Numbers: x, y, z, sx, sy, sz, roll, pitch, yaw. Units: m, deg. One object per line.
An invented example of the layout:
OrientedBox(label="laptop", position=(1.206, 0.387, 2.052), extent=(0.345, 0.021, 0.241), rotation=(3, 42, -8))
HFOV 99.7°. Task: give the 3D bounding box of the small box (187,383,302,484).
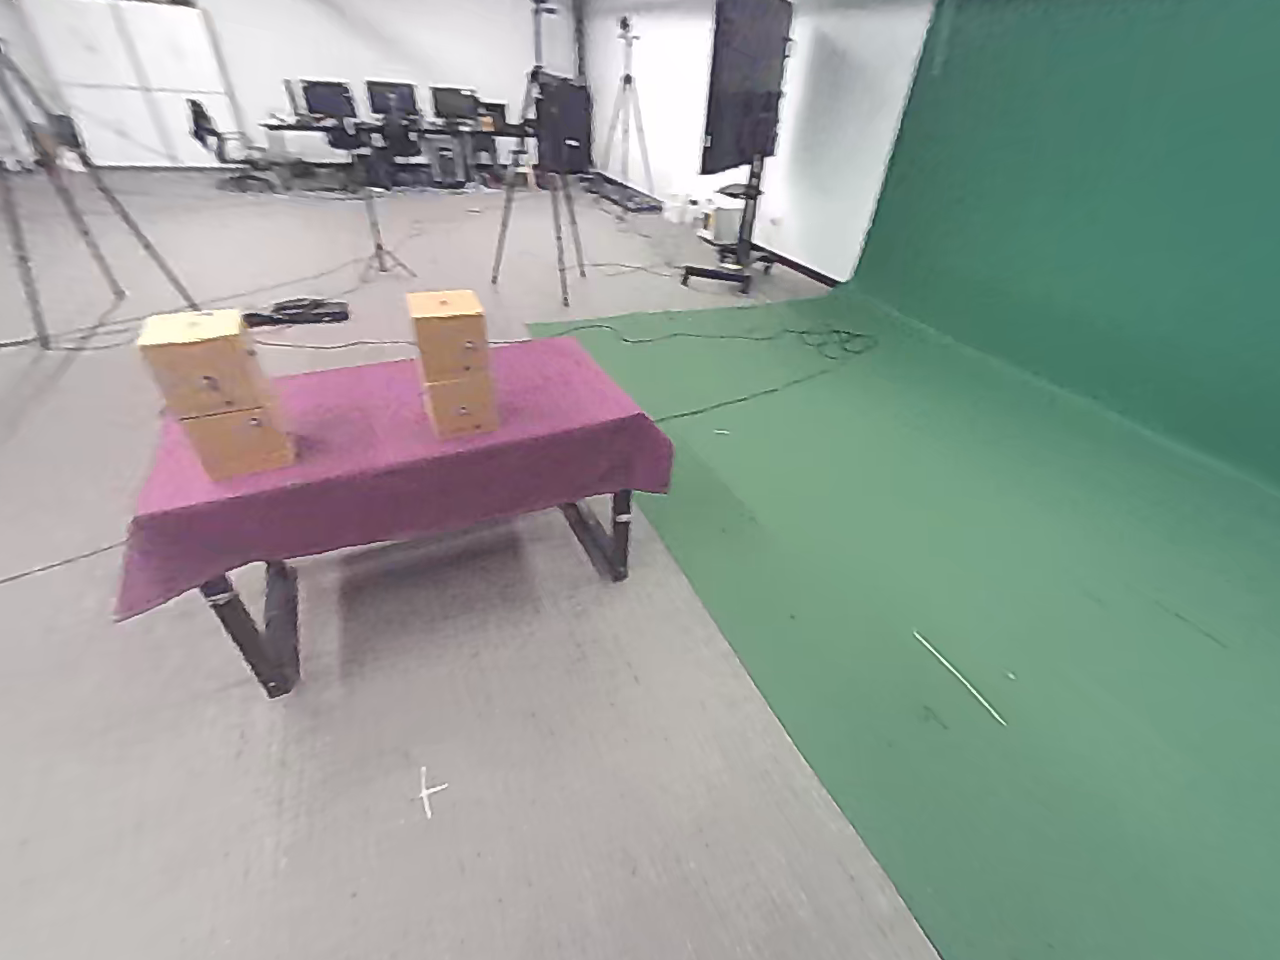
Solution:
OrientedBox(label="small box", position=(-0.935, -0.111, 1.292), extent=(0.179, 0.176, 0.168), rotation=(-15, 40, -25))

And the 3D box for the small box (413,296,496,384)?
OrientedBox(label="small box", position=(-0.473, -0.355, 1.383), extent=(0.168, 0.176, 0.179), rotation=(-12, 39, -20))

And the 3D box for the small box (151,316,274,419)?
OrientedBox(label="small box", position=(-0.931, -0.244, 1.196), extent=(0.168, 0.176, 0.179), rotation=(-15, 40, -25))

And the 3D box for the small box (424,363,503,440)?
OrientedBox(label="small box", position=(-0.480, -0.221, 1.477), extent=(0.168, 0.176, 0.179), rotation=(-13, 39, -22))
